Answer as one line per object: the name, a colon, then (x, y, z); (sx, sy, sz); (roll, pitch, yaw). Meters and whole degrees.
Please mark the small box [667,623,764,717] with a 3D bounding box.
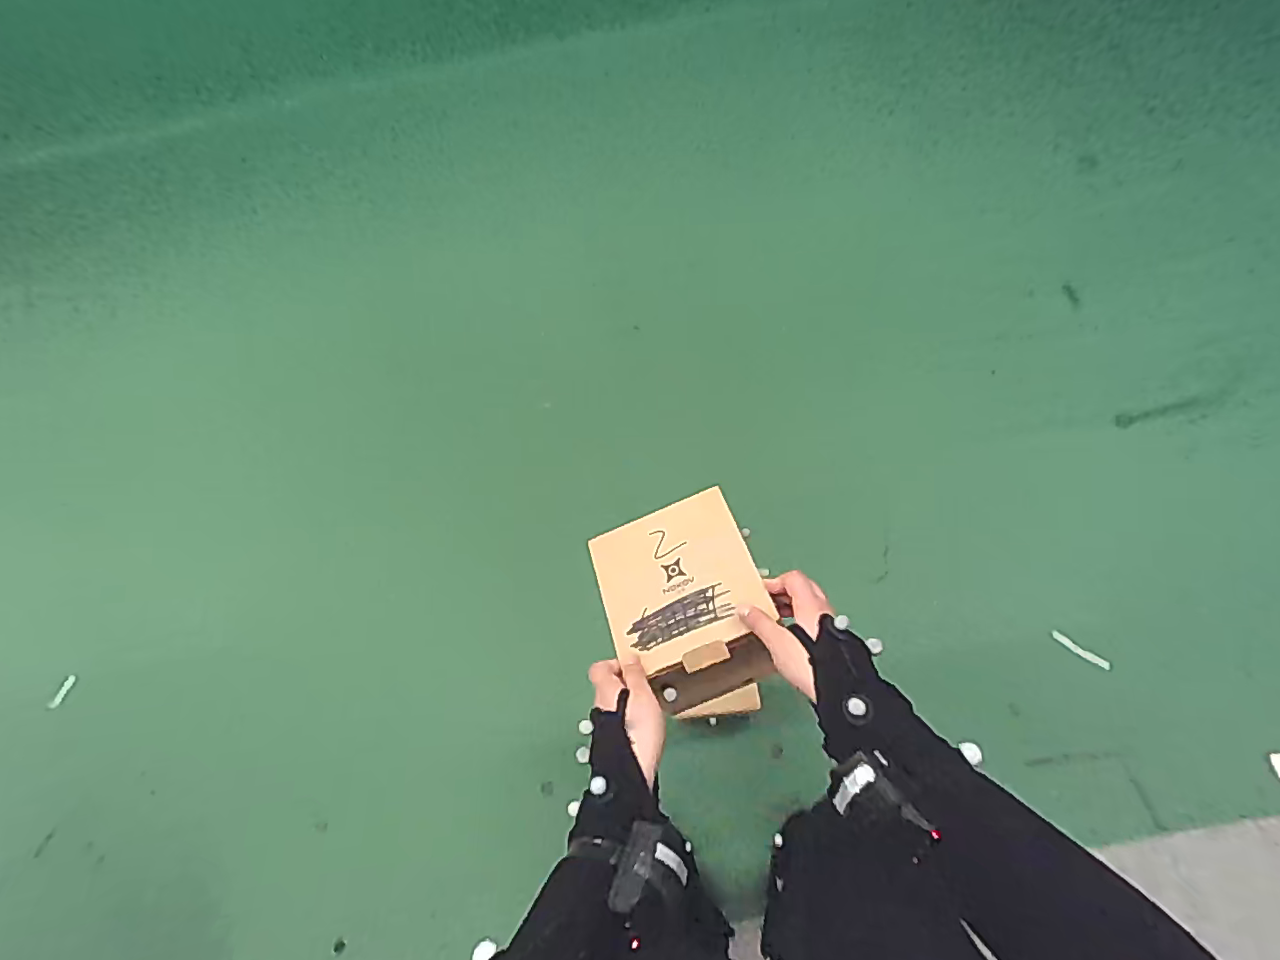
small box: (0.154, 0.407, 1.148); (0.179, 0.176, 0.168); (-8, 64, 3)
